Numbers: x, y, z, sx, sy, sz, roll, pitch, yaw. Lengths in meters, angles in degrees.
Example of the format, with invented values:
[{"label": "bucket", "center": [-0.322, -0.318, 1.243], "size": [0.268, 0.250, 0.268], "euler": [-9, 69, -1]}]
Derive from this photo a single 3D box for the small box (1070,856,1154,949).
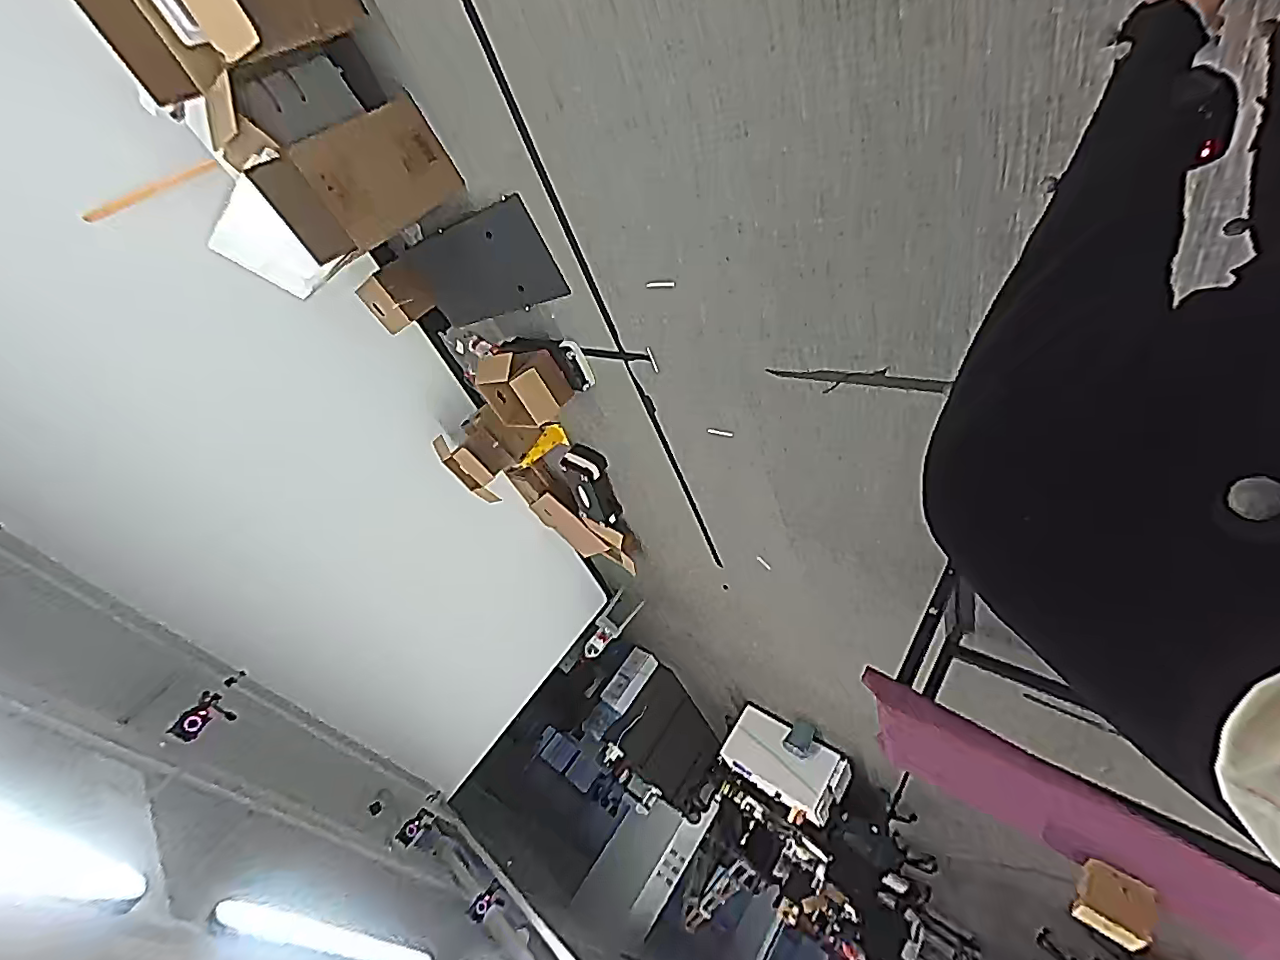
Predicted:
[{"label": "small box", "center": [1.572, 1.404, 1.800], "size": [0.168, 0.176, 0.179], "euler": [19, 147, 39]}]
